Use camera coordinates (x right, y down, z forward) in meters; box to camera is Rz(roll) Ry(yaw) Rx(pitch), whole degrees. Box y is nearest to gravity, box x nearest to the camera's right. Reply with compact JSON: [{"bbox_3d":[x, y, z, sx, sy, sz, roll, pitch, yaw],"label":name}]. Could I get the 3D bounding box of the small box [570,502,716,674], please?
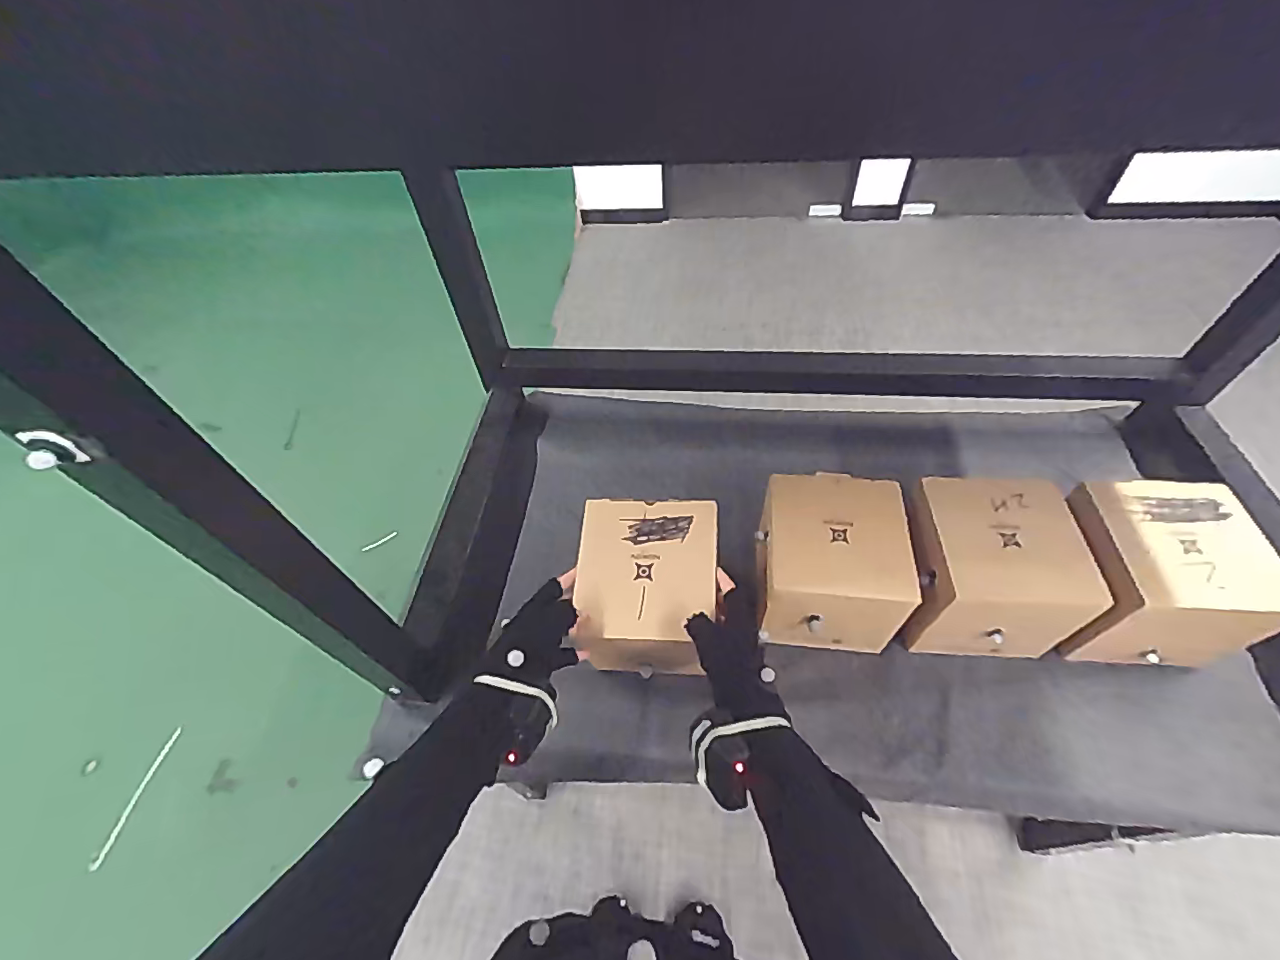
[{"bbox_3d":[0.015,0.144,0.711,0.168,0.176,0.179,0,59,8],"label":"small box"}]
